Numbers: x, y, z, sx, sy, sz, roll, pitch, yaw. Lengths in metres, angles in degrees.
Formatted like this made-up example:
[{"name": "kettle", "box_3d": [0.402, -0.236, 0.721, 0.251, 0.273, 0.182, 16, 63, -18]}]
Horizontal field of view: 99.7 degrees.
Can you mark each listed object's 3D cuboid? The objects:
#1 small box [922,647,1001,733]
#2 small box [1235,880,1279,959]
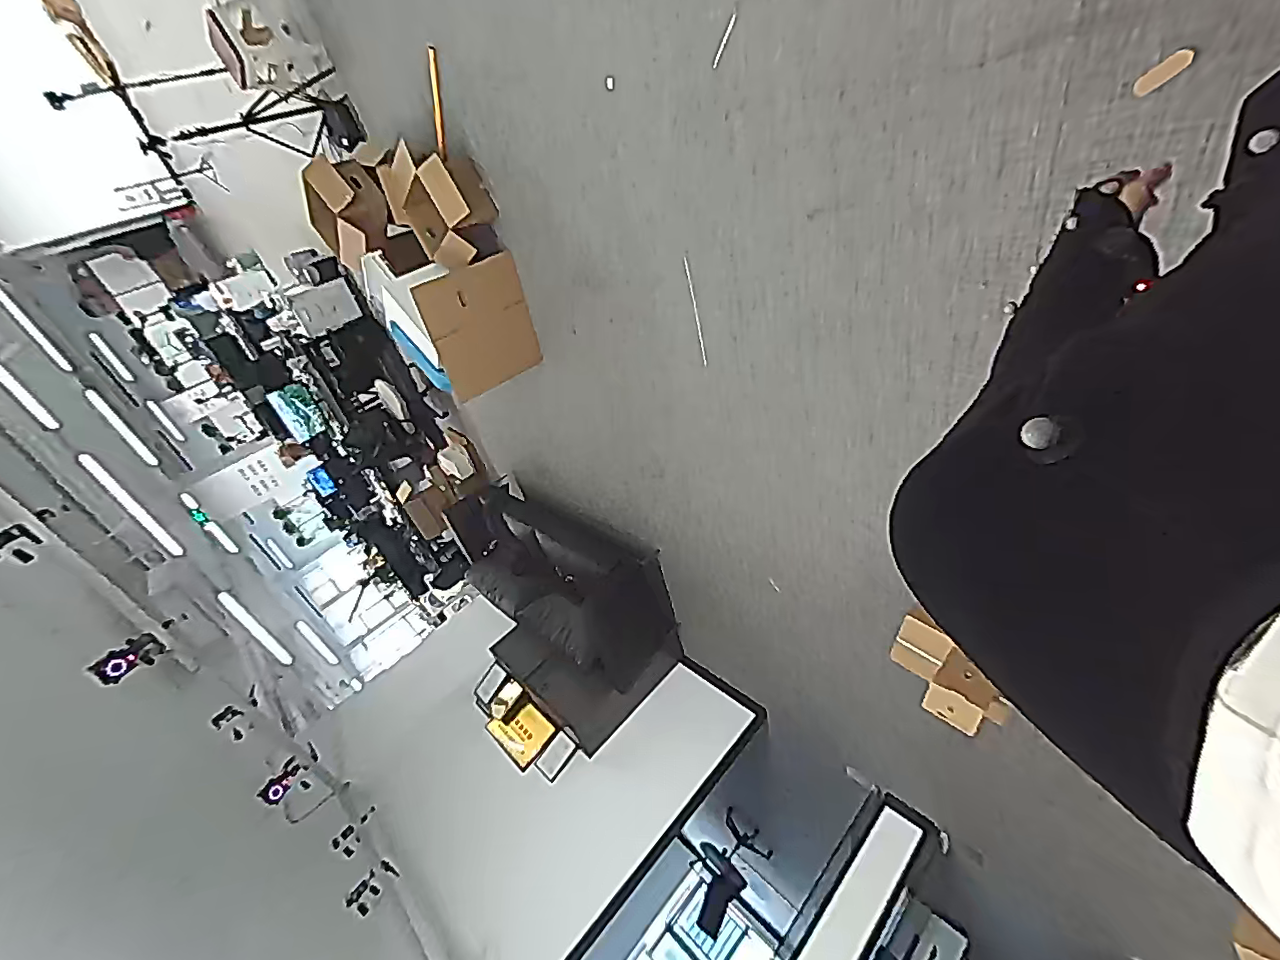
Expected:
[{"name": "small box", "box_3d": [1.084, 0.701, 1.820, 0.168, 0.176, 0.179, 27, 142, 37]}, {"name": "small box", "box_3d": [1.547, 1.092, 1.263, 0.179, 0.176, 0.168, -9, 116, 58]}]
